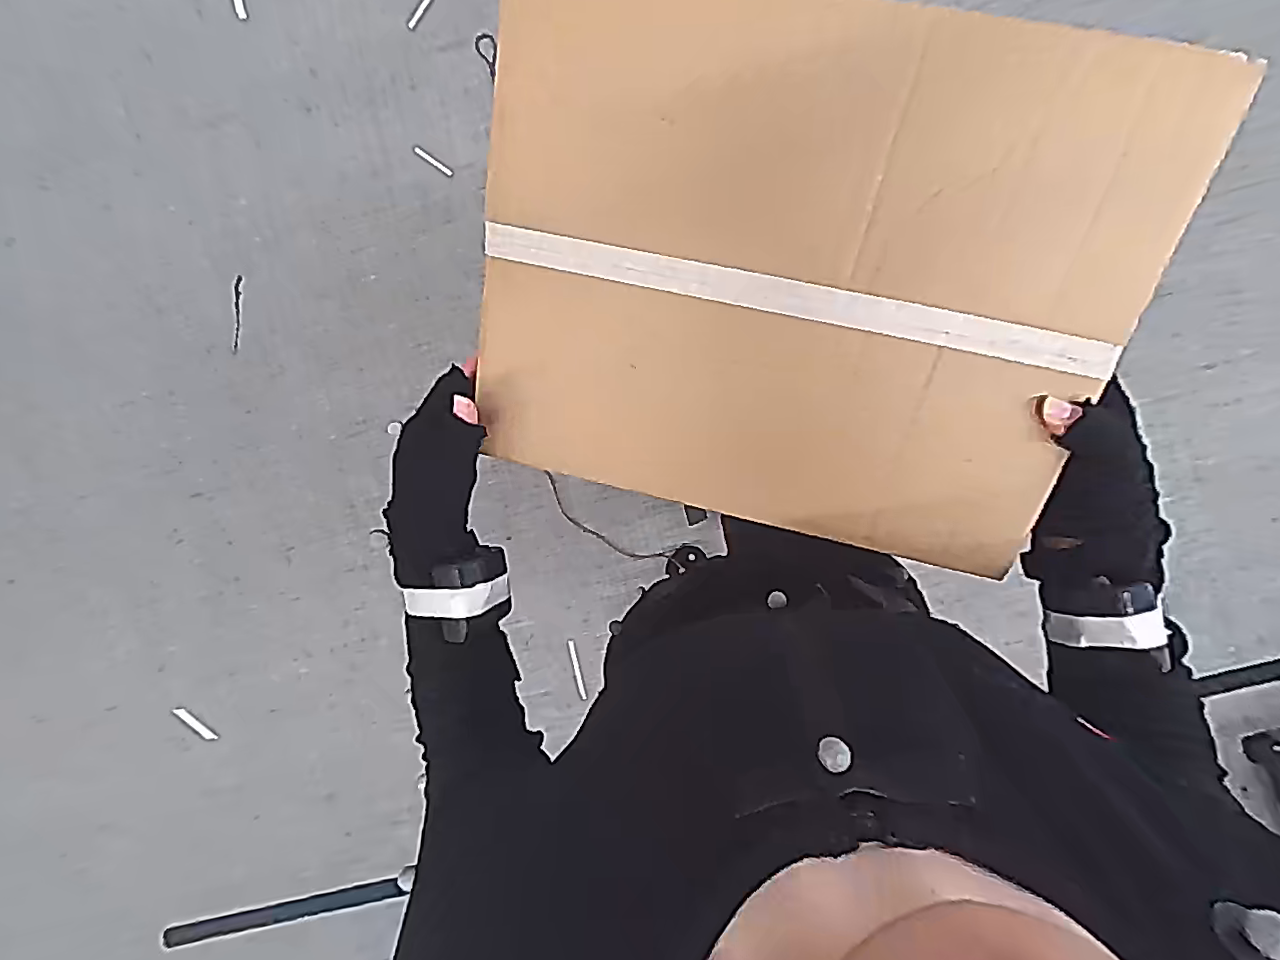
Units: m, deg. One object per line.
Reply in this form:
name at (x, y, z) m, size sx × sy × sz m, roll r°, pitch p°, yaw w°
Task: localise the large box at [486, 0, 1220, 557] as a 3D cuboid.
large box at (0.116, -0.173, 0.498) m, size 0.408 × 0.320 × 0.320 m, roll 13°, pitch 113°, yaw 5°
